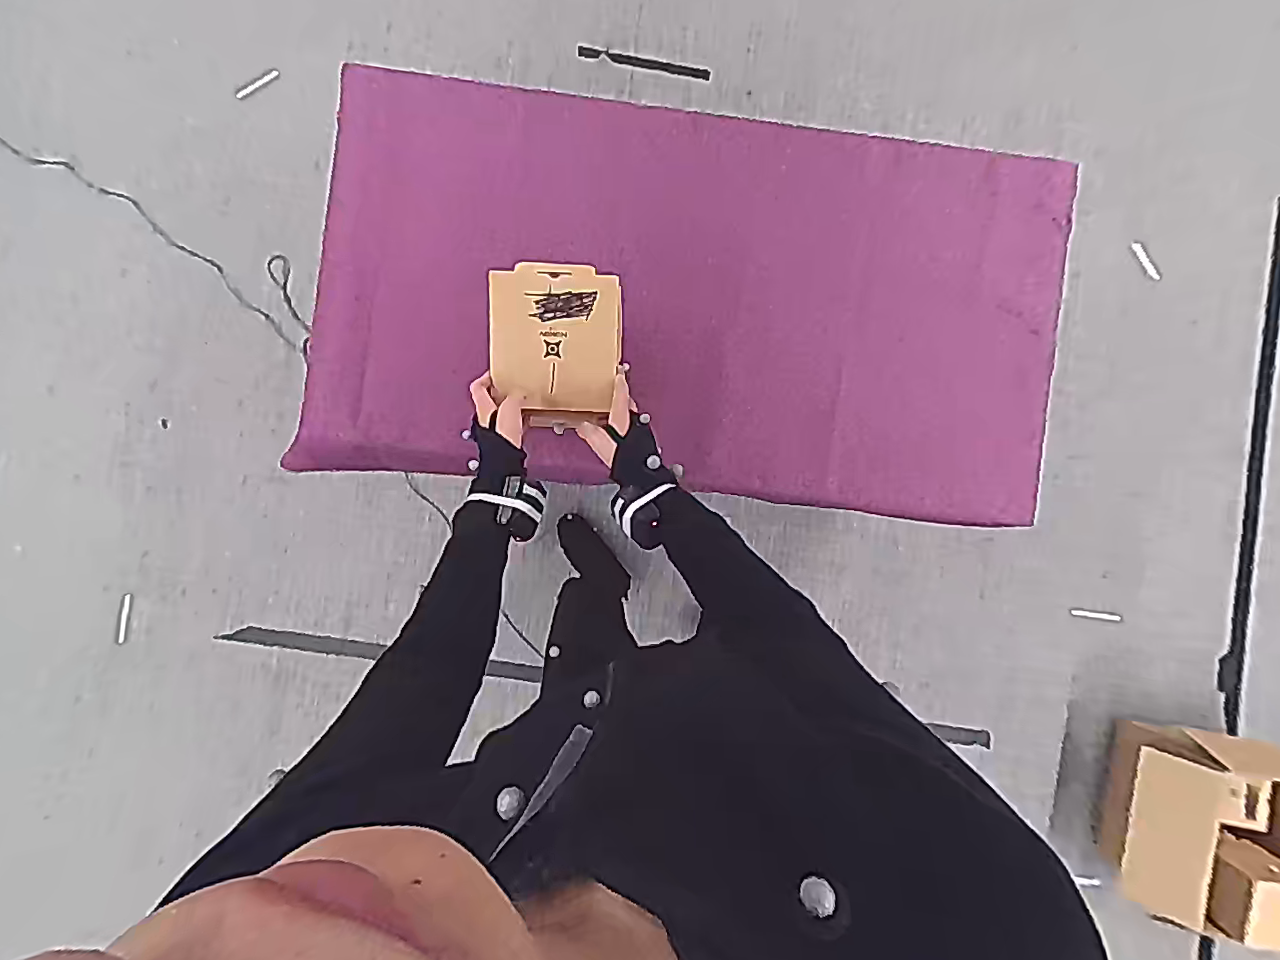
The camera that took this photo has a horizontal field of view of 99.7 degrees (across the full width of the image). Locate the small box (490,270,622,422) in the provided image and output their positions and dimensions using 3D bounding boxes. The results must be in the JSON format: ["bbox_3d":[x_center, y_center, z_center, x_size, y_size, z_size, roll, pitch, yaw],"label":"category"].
[{"bbox_3d":[-0.114,-0.185,0.792,0.168,0.176,0.179,3,90,-1],"label":"small box"}]
